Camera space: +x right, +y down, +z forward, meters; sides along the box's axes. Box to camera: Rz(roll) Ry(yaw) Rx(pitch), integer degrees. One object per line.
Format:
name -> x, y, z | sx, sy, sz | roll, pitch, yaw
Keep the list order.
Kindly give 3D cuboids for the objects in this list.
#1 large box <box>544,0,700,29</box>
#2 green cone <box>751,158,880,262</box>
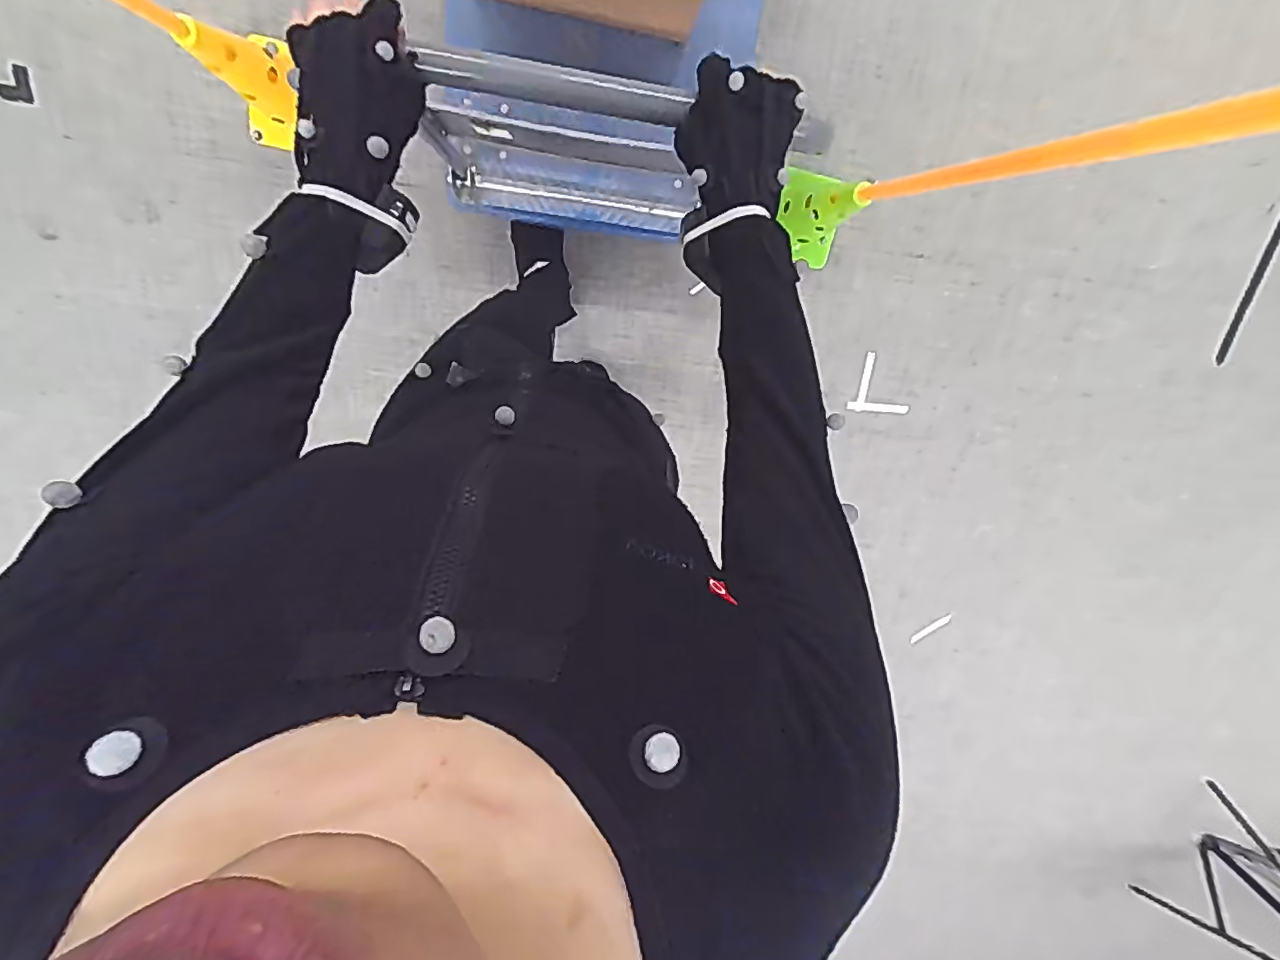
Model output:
large box -> -0.071, -0.957, 0.816 | 0.408, 0.320, 0.320 | 8, 111, -6
green cone -> 0.394, -0.585, 1.141 | 0.202, 0.368, 0.200 | 9, 110, -8
